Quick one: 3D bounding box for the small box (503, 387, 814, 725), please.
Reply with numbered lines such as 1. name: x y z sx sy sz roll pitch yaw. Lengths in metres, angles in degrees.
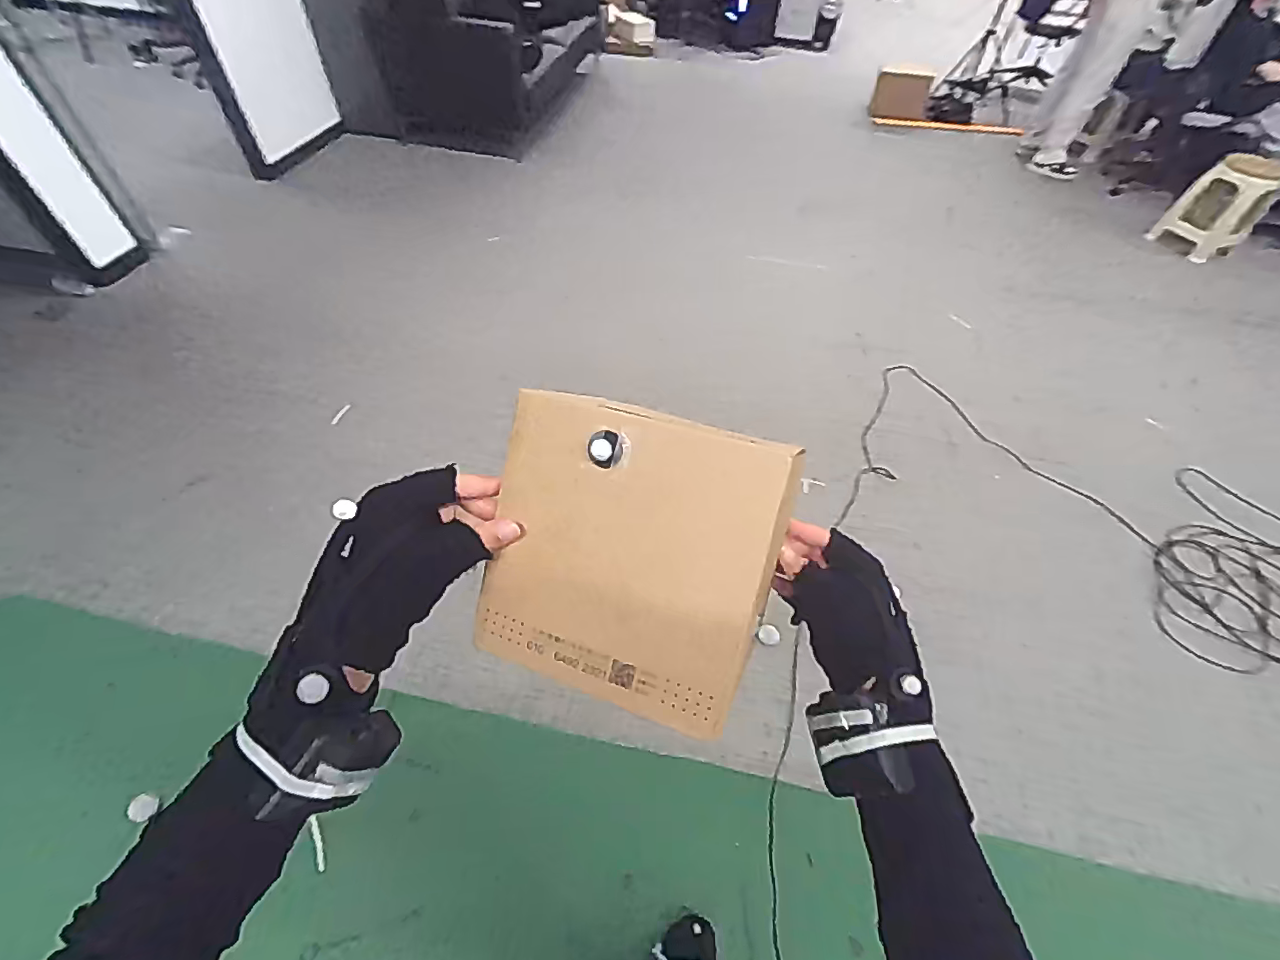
1. small box: 0.021 0.041 0.399 0.168 0.176 0.179 16 8 18
